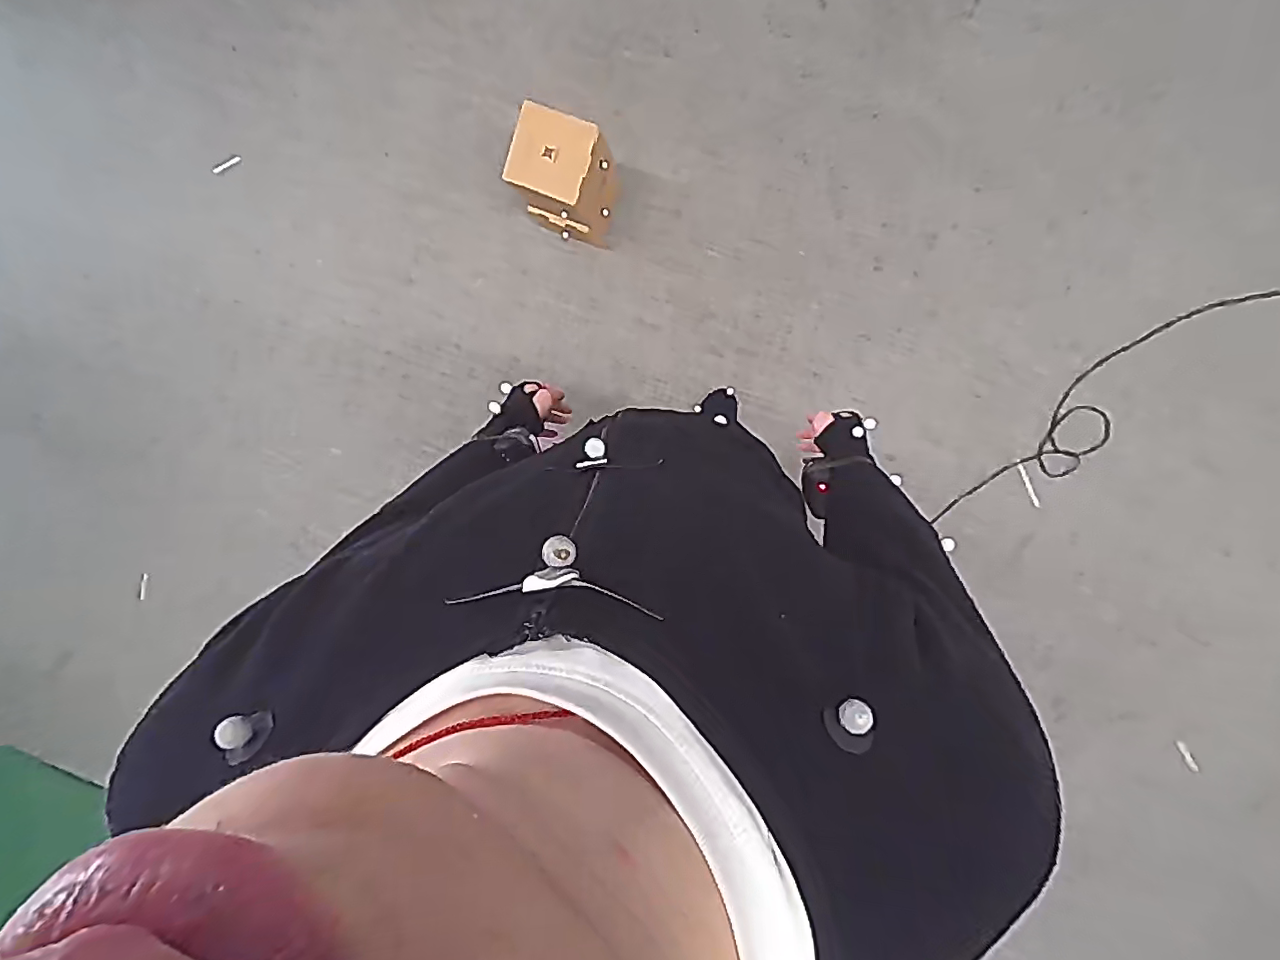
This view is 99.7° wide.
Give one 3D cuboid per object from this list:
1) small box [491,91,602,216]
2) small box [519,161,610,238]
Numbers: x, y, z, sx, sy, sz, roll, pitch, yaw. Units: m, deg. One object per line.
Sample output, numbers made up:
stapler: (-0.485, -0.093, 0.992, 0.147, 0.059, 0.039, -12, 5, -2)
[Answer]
small box: (-0.200, -0.715, 1.207, 0.179, 0.176, 0.168, 21, 101, 4)
small box: (-0.186, -0.745, 1.385, 0.168, 0.176, 0.179, 20, 102, 4)
